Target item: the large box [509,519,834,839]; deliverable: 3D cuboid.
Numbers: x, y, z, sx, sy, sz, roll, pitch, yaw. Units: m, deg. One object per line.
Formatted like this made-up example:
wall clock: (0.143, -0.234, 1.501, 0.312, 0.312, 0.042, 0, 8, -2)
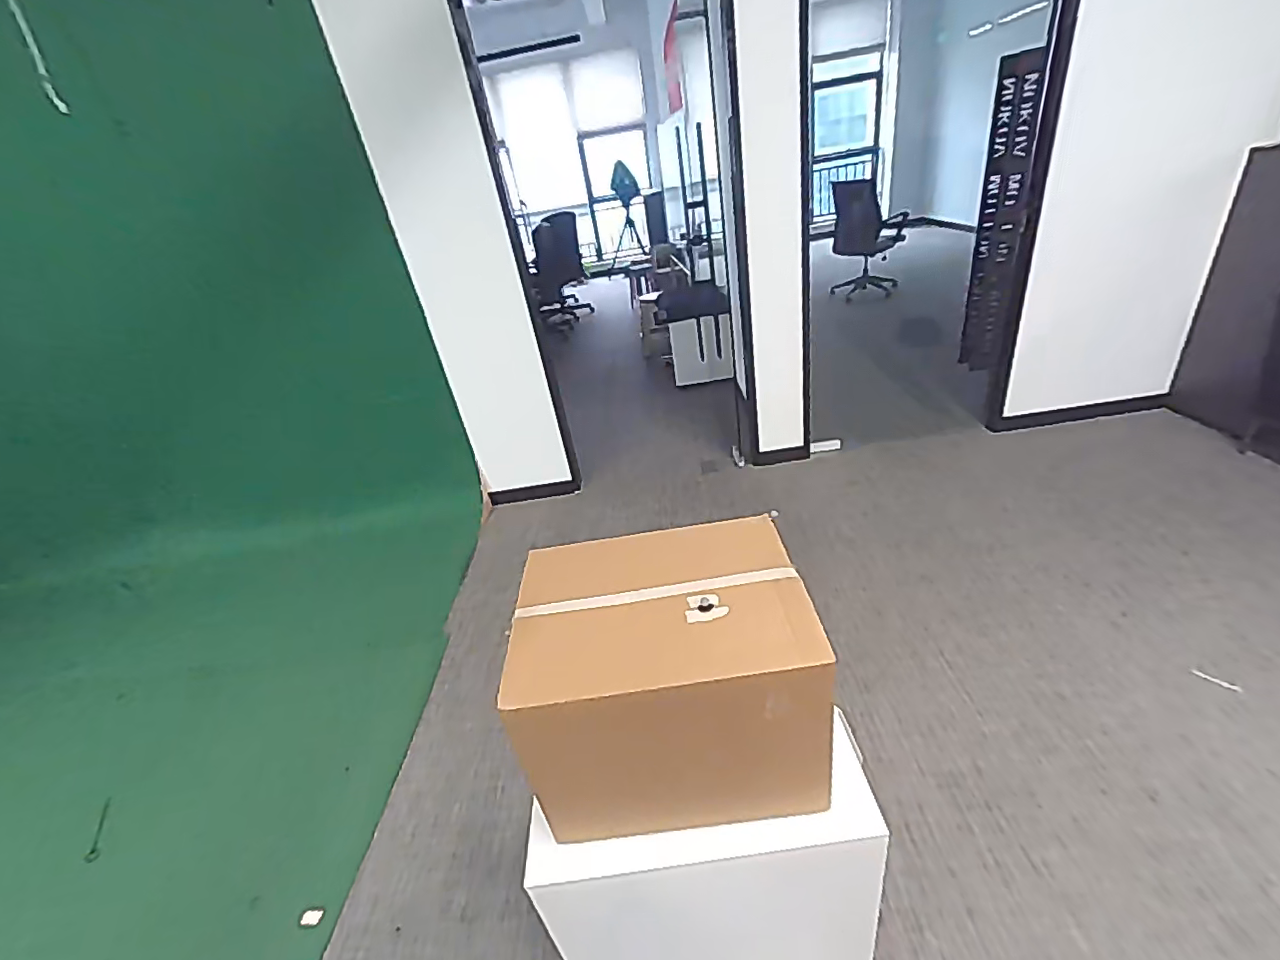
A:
large box: (0.046, 0.296, 0.842, 0.408, 0.320, 0.320, -8, 30, 1)
